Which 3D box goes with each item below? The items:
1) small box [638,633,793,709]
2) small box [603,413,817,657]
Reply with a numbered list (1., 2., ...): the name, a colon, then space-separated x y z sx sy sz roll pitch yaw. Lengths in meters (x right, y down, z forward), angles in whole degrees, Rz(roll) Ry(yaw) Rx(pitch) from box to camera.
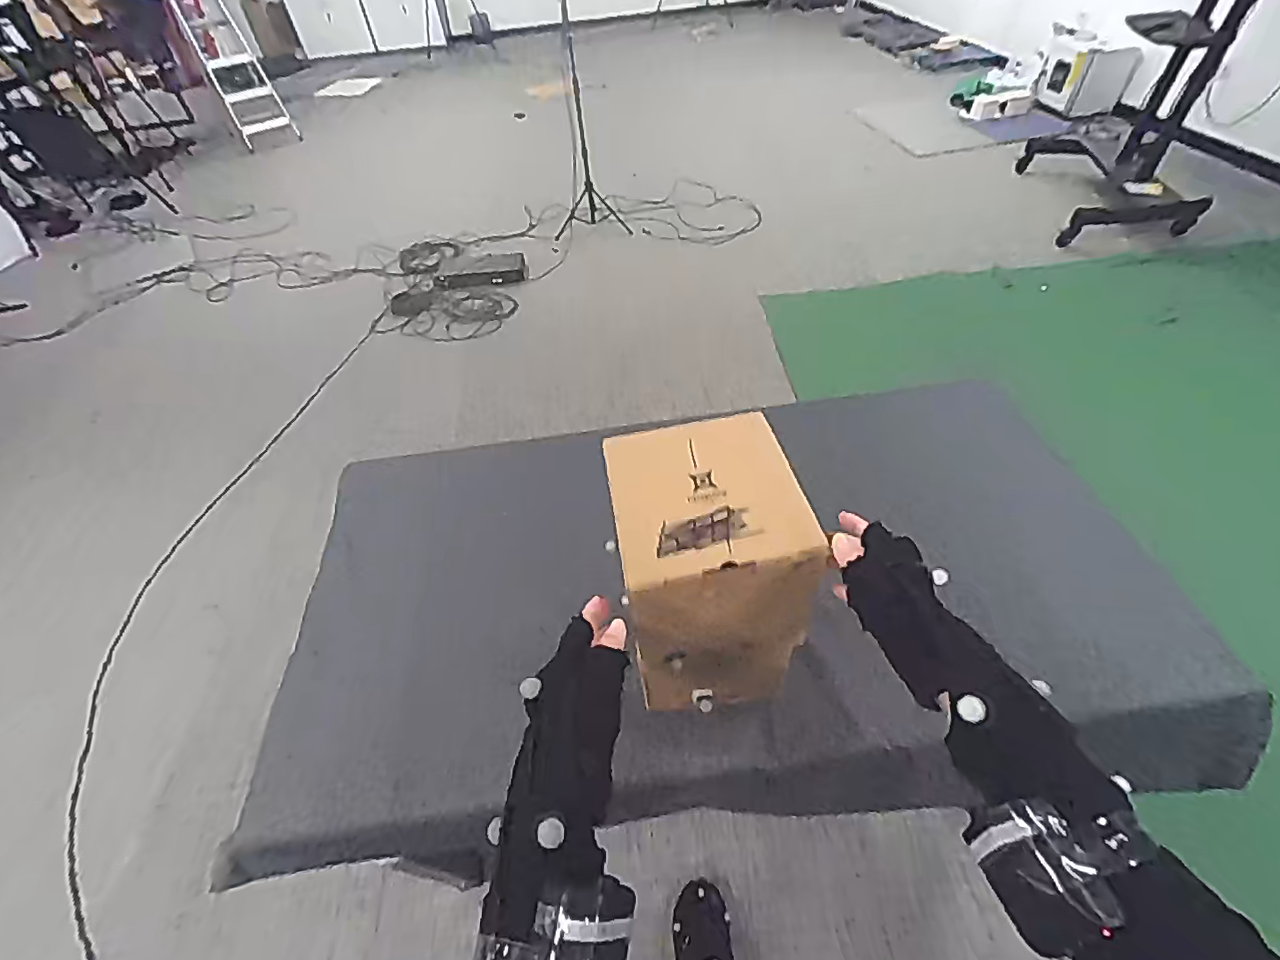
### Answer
1. small box: 0.079 0.163 0.676 0.168 0.176 0.179 -8 49 0
2. small box: 0.062 0.062 0.547 0.168 0.176 0.179 -10 46 -2
